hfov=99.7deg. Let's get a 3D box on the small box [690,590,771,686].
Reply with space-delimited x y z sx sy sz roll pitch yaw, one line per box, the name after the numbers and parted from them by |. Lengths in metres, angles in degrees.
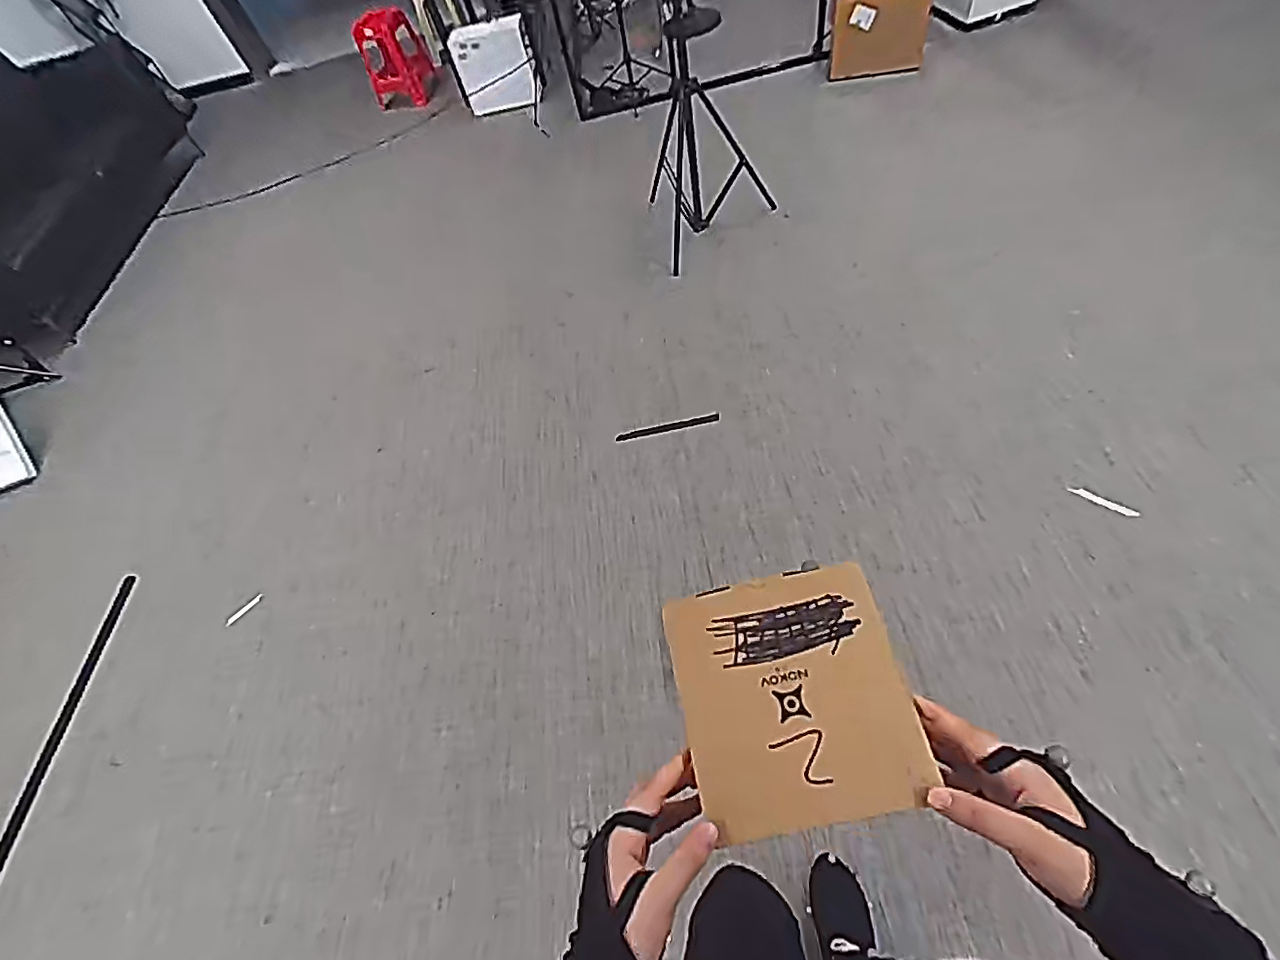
0.227 0.403 1.368 0.168 0.176 0.179 -12 56 4 | small box
